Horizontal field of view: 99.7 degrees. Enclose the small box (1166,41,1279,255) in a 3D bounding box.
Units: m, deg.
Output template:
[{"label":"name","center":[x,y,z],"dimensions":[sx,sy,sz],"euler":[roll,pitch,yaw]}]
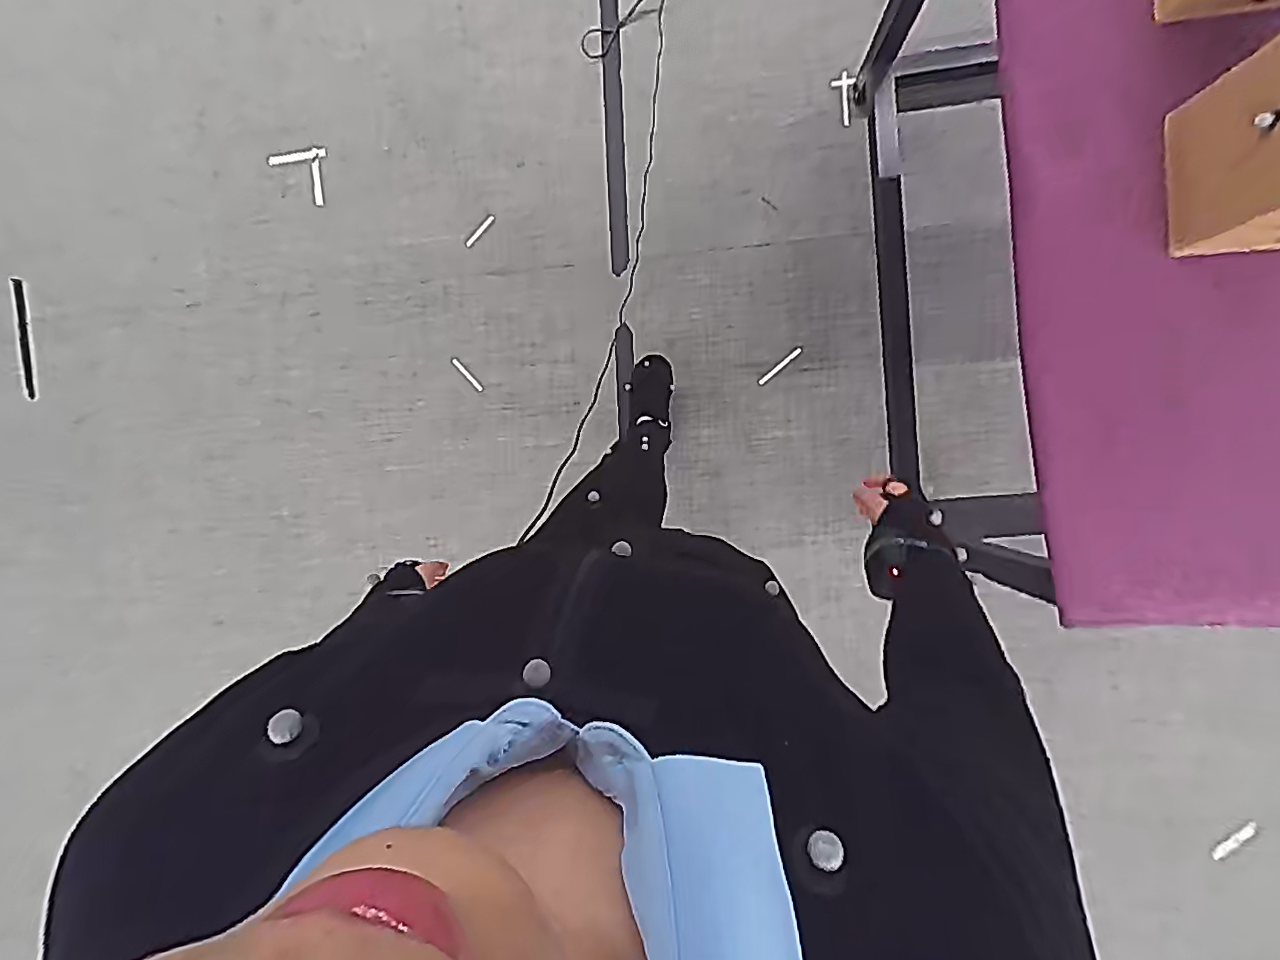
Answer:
[{"label":"small box","center":[0.730,-0.360,0.589],"dimensions":[0.168,0.176,0.179],"euler":[-3,91,5]}]
